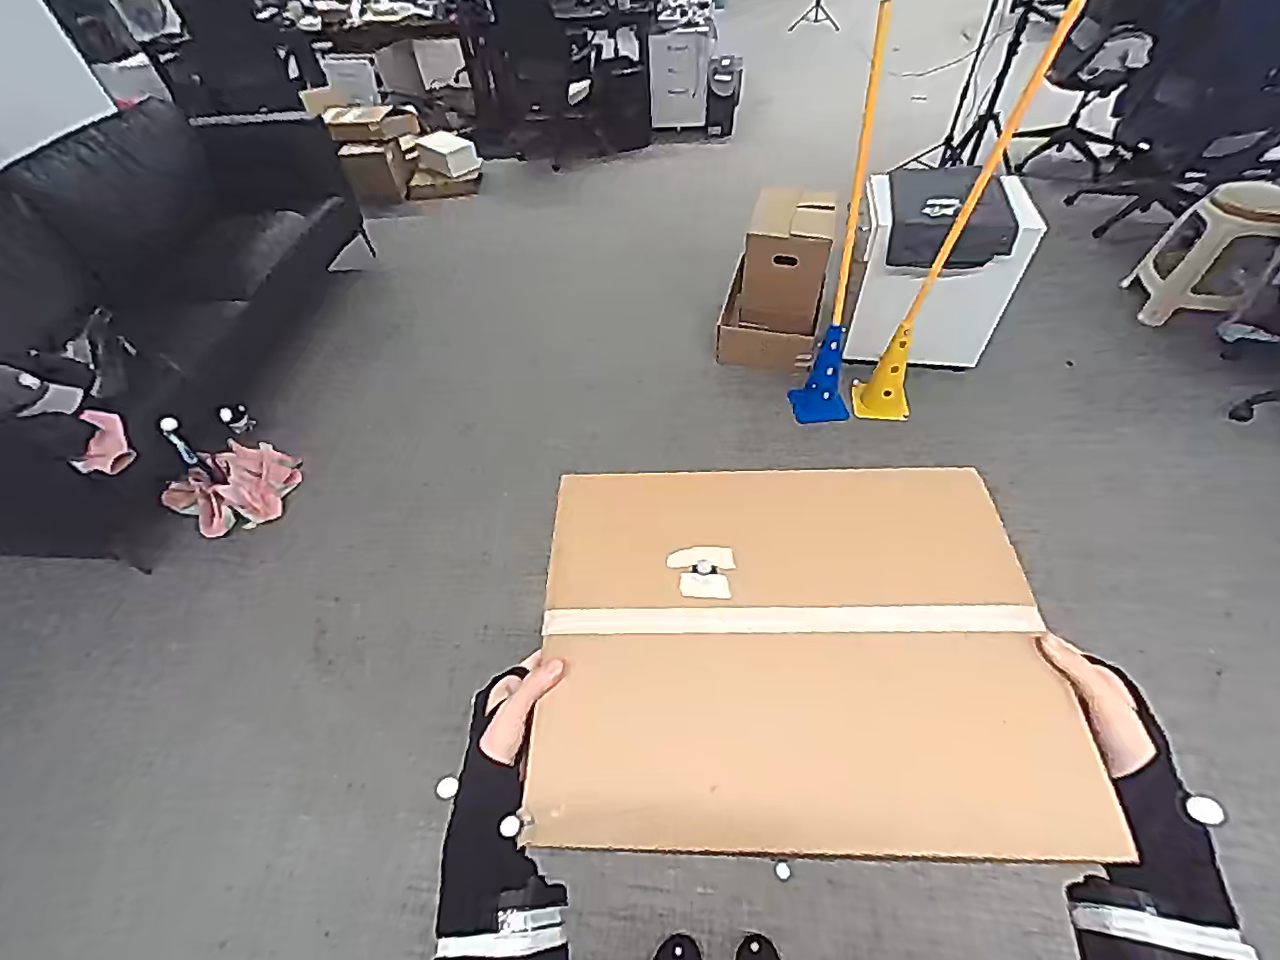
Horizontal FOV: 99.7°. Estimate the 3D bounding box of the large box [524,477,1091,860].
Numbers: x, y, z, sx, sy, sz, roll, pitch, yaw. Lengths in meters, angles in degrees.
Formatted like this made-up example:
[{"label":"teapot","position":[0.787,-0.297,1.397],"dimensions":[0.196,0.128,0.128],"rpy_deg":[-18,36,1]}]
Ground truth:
[{"label":"large box","position":[0.126,0.214,0.585],"dimensions":[0.408,0.320,0.320],"rpy_deg":[-2,55,4]}]
